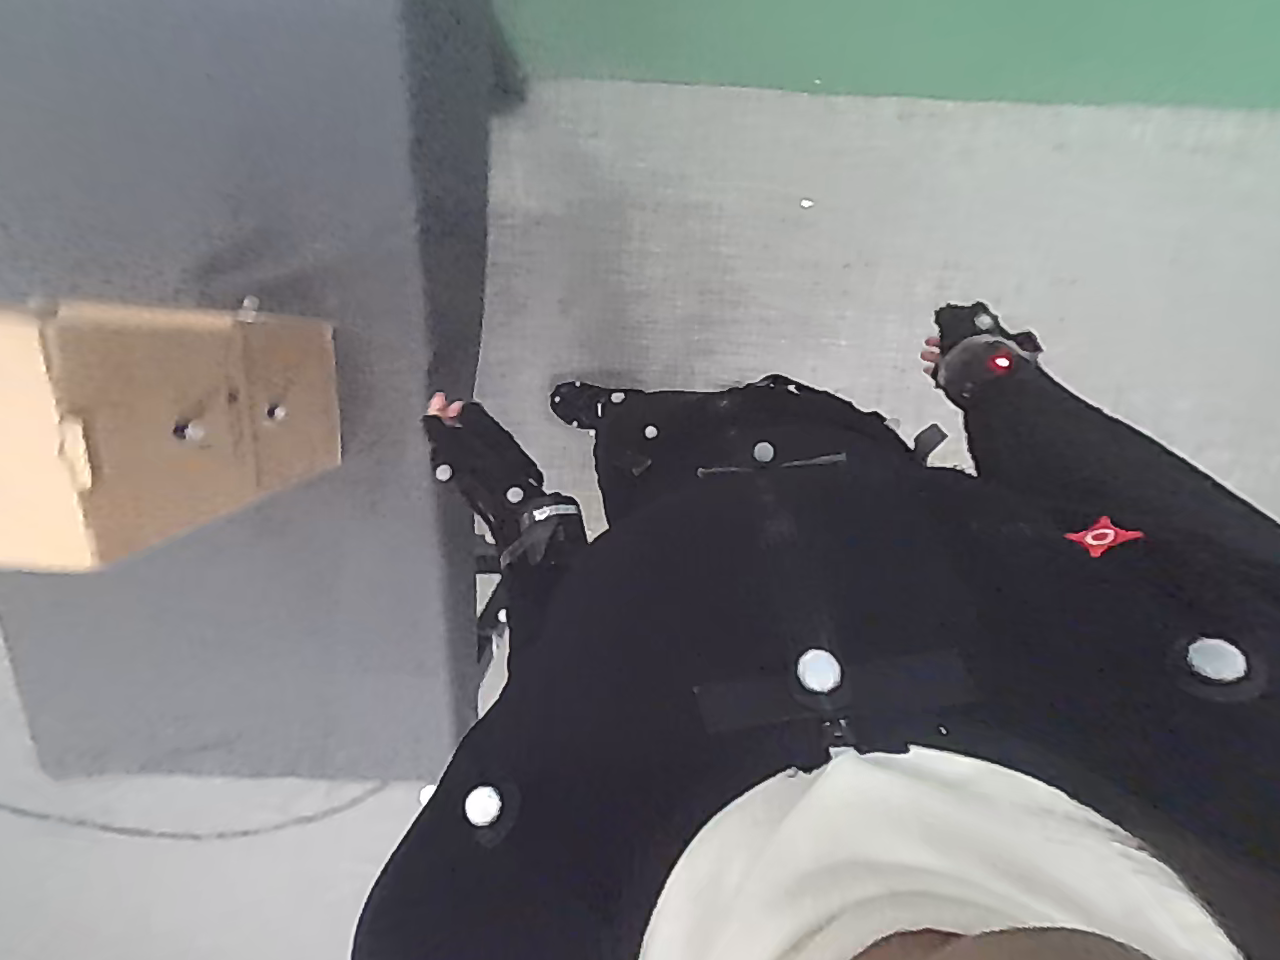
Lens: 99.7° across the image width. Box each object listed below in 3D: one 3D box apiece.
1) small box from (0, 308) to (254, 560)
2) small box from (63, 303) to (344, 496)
[{"bbox_3d":[-0.446,-0.047,0.432,0.179,0.176,0.168,3,104,-2],"label":"small box"},{"bbox_3d":[-0.448,-0.092,0.590,0.168,0.176,0.179,3,103,-1],"label":"small box"}]
